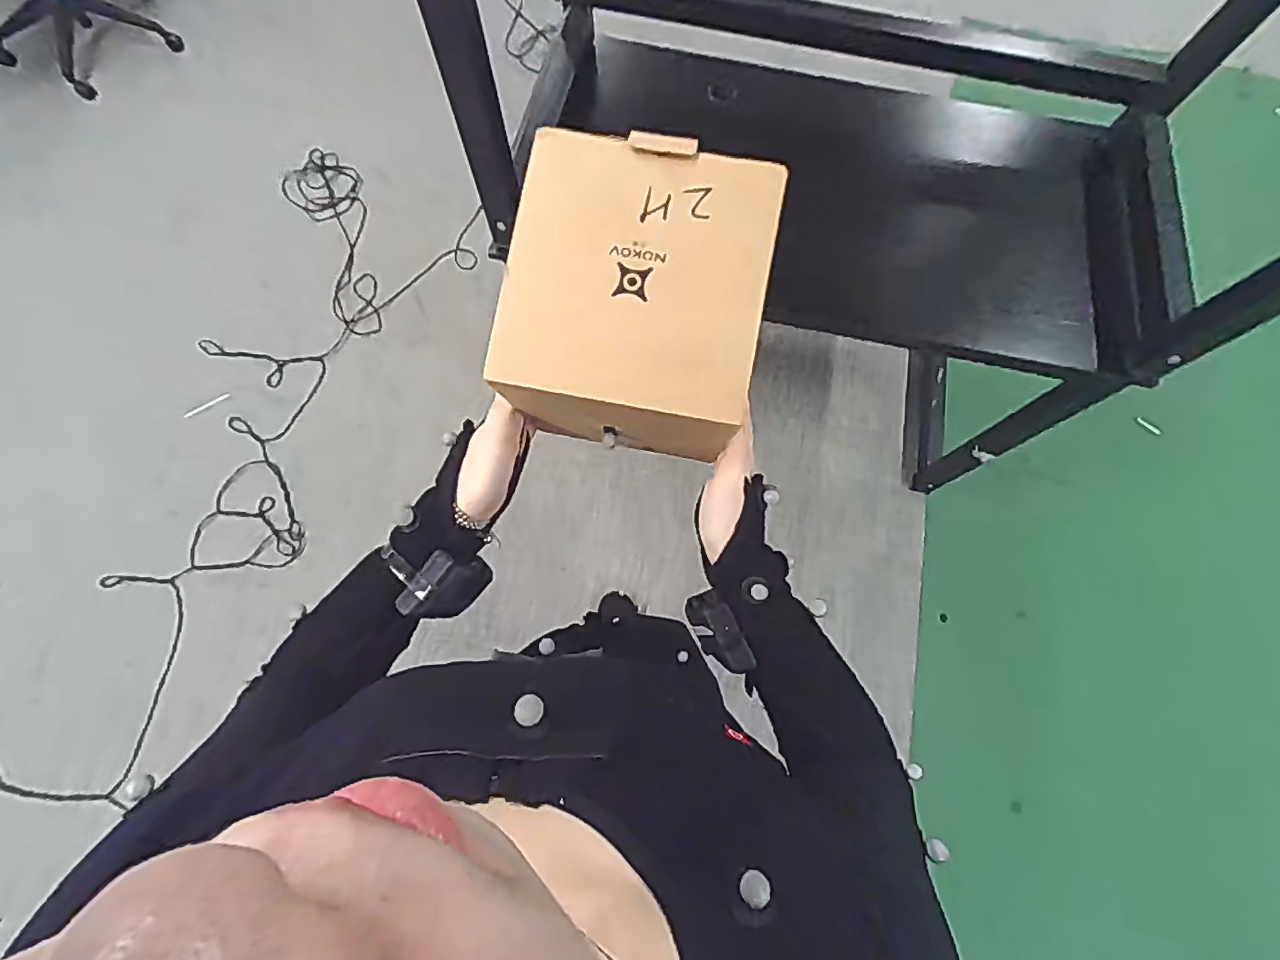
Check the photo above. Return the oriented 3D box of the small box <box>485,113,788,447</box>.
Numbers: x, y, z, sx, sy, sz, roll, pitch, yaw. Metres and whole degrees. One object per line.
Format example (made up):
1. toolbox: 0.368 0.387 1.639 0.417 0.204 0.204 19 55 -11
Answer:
1. small box: 0.001 -0.131 0.419 0.168 0.176 0.179 11 85 2
